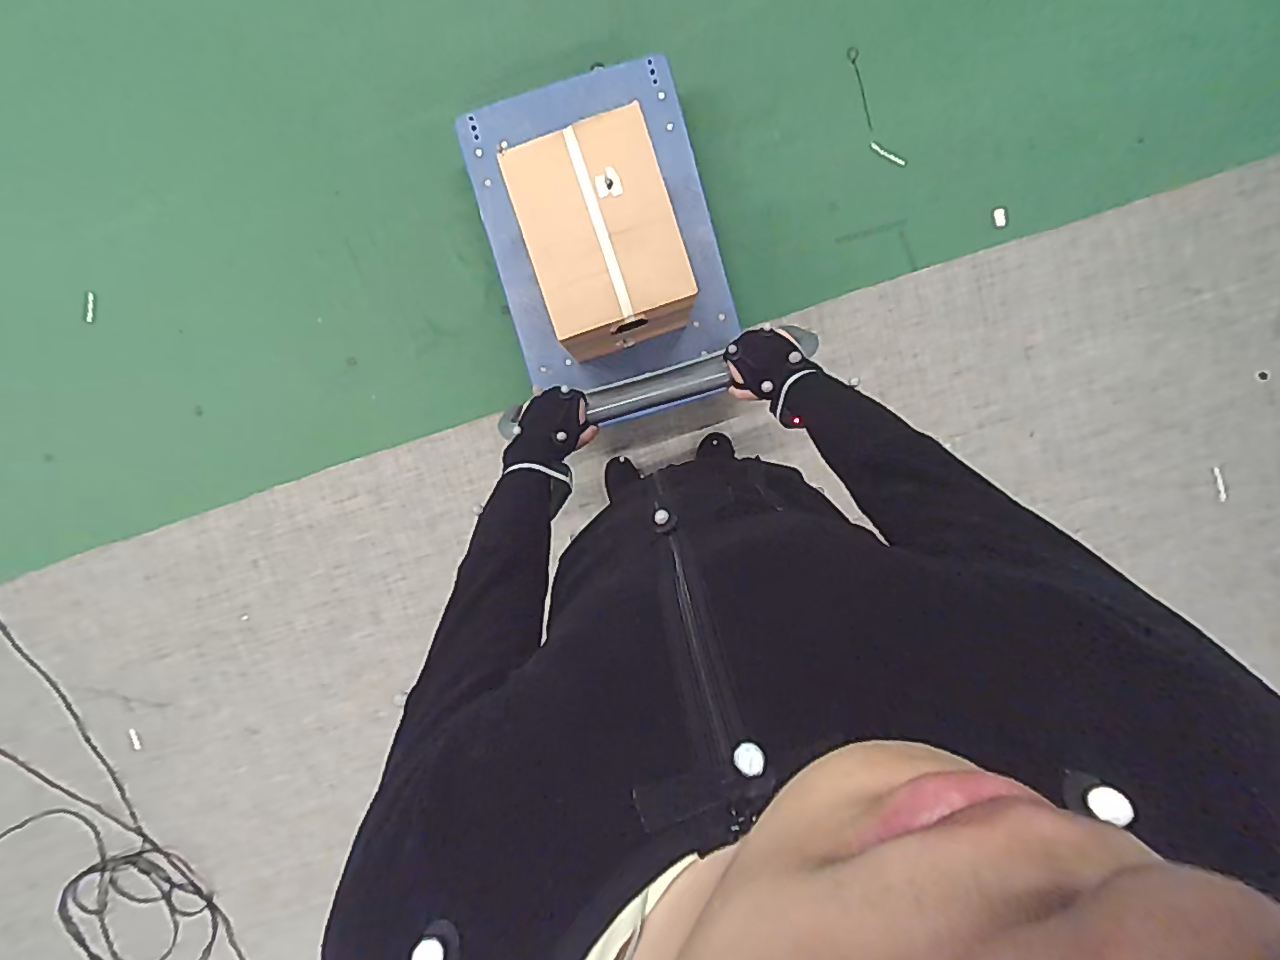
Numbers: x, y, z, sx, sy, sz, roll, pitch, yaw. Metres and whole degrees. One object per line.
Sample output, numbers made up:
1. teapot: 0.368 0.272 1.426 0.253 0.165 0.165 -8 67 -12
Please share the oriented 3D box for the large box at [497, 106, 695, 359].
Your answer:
1. large box: -0.085 -0.544 1.274 0.320 0.320 0.408 -18 94 2
